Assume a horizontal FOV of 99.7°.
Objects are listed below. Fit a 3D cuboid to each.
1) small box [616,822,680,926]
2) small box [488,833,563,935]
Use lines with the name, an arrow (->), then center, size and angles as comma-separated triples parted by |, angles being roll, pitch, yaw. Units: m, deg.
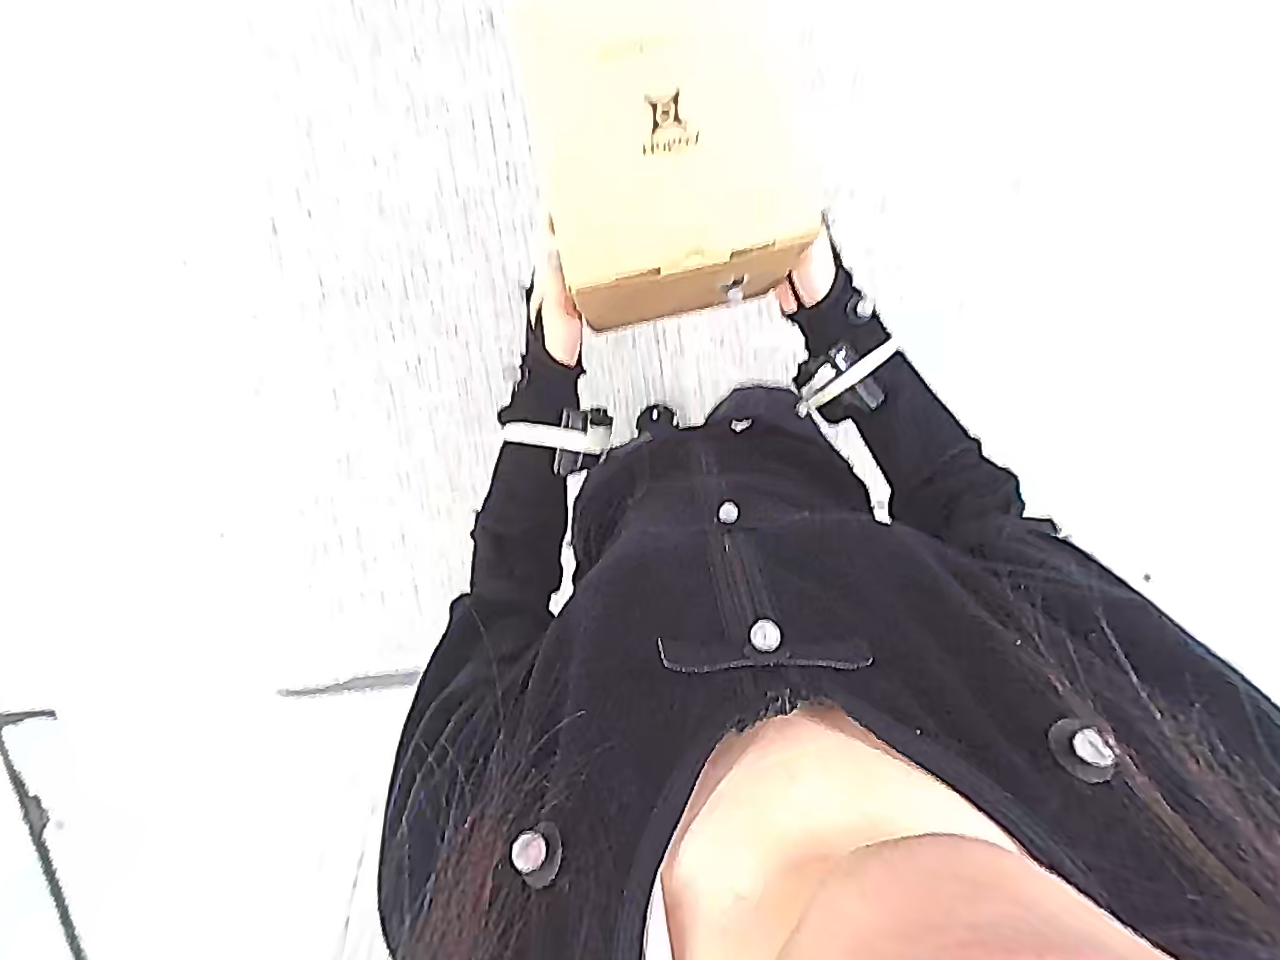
small box -> 0.025, 1.151, 1.587 | 0.168, 0.176, 0.179 | -8, 98, 0
small box -> -0.331, 1.178, 1.589 | 0.179, 0.176, 0.168 | 10, 98, -4
